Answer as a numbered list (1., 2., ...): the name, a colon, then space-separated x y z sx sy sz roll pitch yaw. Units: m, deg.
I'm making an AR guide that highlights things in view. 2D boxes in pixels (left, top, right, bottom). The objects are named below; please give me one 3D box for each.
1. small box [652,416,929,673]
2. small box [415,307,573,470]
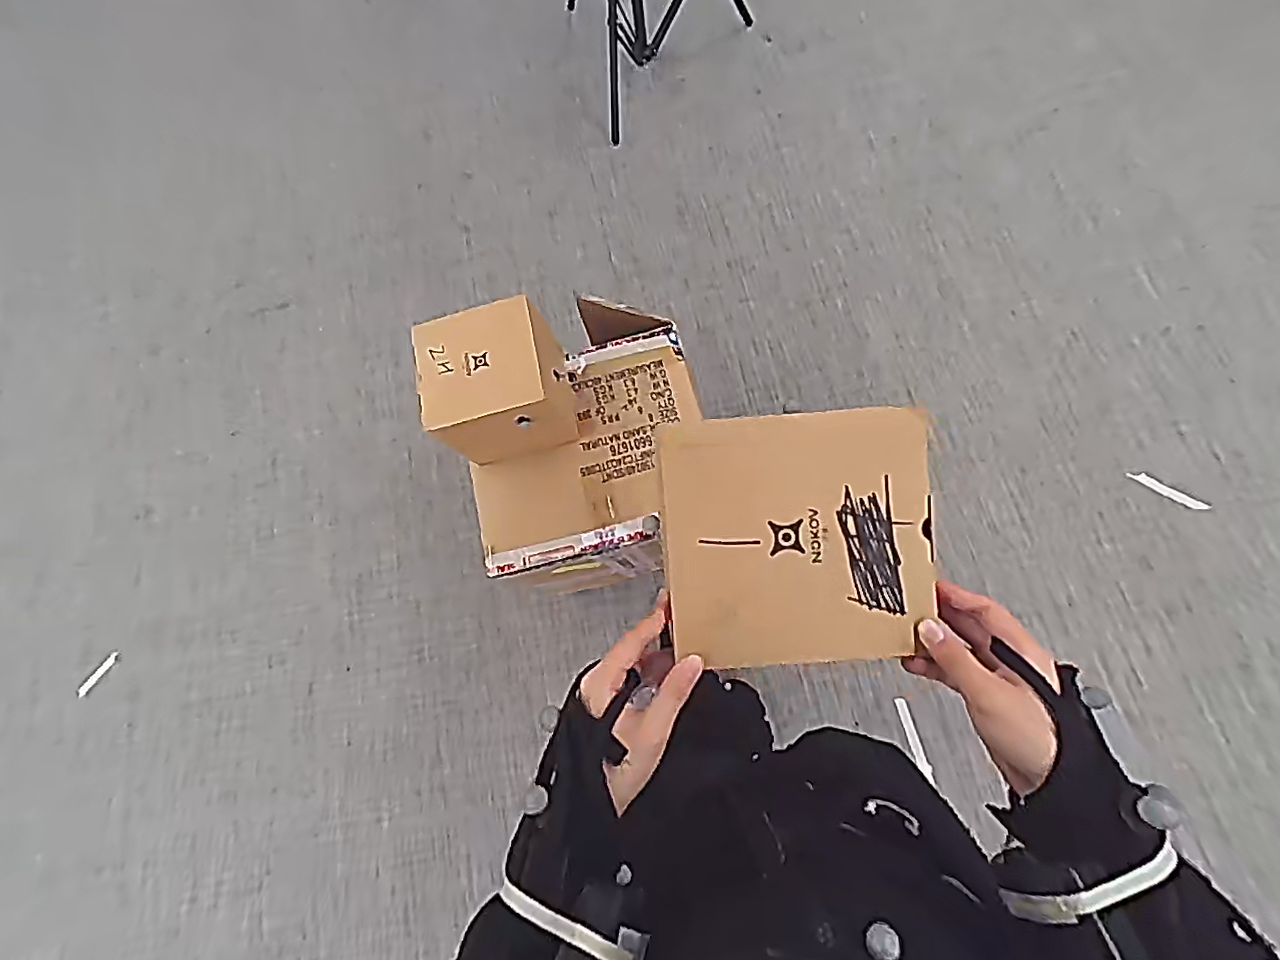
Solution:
1. small box: 0.103 0.042 0.441 0.179 0.176 0.168 -5 90 2
2. small box: -0.209 -0.128 0.818 0.179 0.176 0.168 -14 74 6
